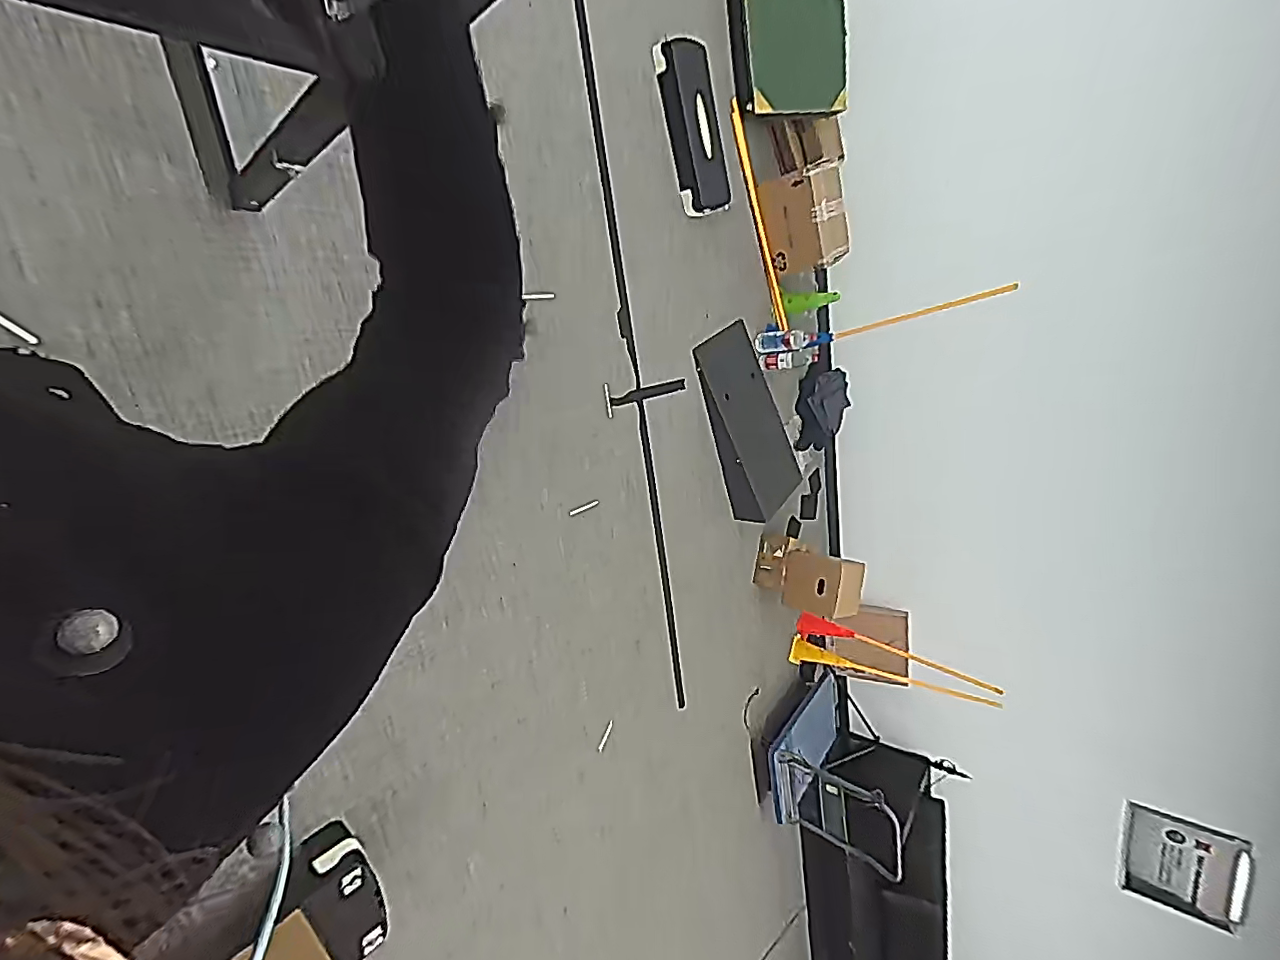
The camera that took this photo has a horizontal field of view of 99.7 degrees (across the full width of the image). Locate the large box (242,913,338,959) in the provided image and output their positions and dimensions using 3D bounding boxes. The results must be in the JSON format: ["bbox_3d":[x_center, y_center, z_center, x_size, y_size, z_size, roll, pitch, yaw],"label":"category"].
[{"bbox_3d":[-0.772,1.209,1.057,0.408,0.320,0.320,-24,112,-47],"label":"large box"}]

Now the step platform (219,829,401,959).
[{"bbox_3d":[-0.920,1.163,1.246,0.684,0.204,0.286,-16,105,-48],"label":"step platform"}]
